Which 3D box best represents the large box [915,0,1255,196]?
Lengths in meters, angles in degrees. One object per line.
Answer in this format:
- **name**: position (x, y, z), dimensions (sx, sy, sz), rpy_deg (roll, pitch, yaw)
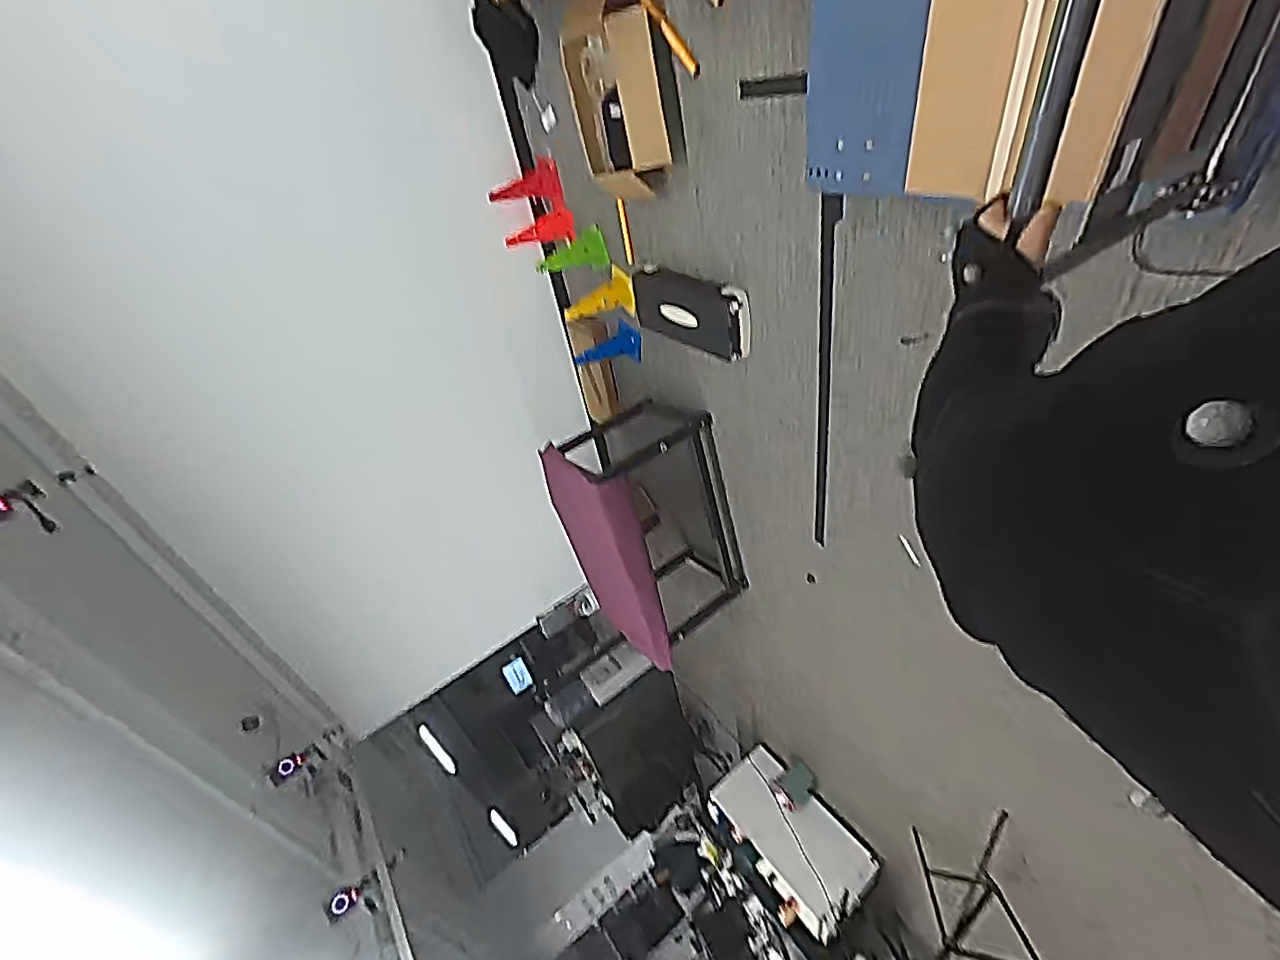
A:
- **large box**: position (0.673, -0.687, 0.815), dimensions (0.320, 0.320, 0.408), rpy_deg (35, 146, 43)
